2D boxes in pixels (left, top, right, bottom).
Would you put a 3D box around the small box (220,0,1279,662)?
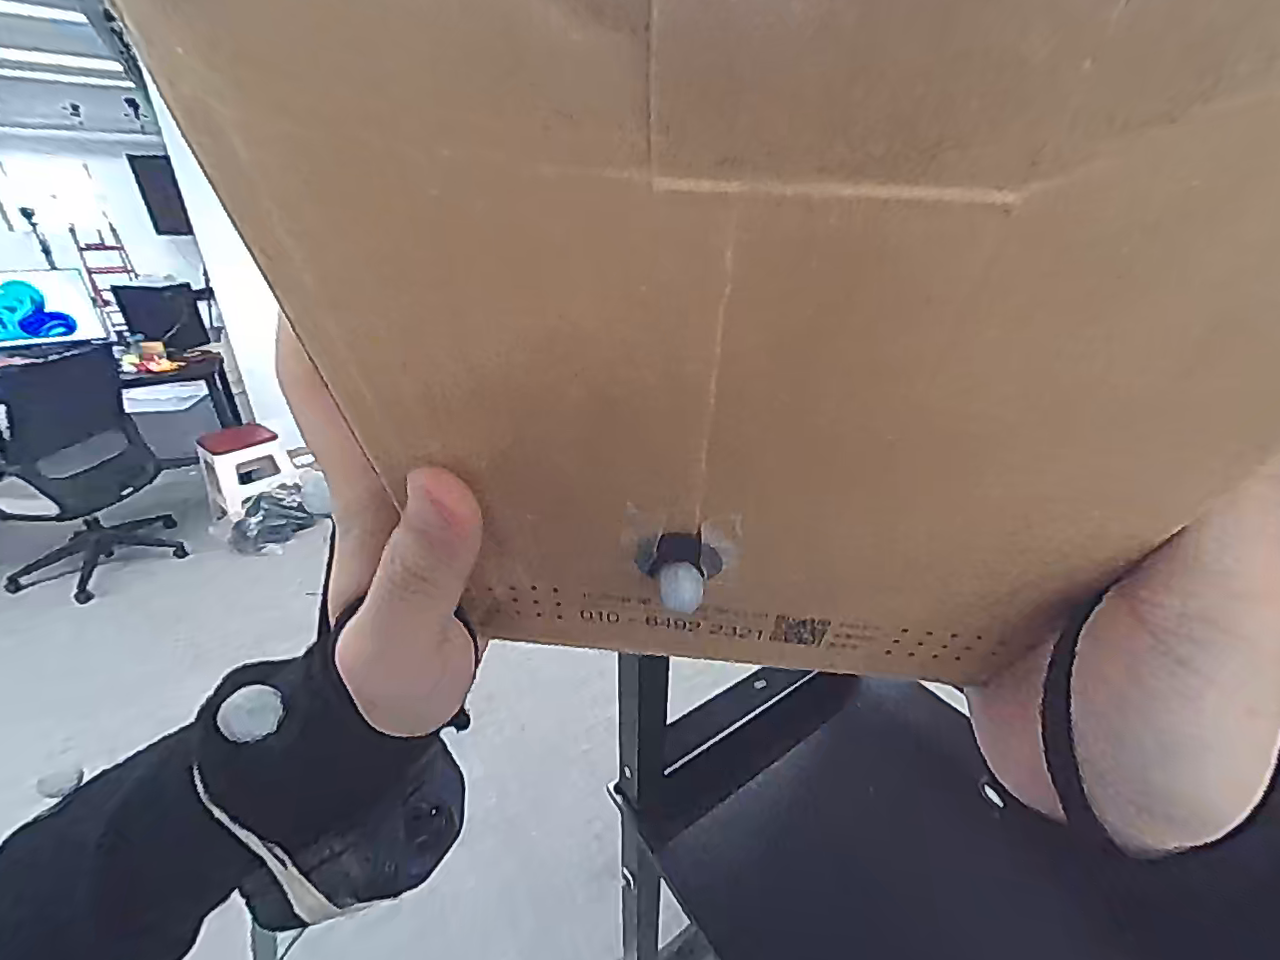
[{"bbox_3d":[0.033,-0.069,0.161,0.168,0.176,0.179,4,50,4],"label":"small box"}]
